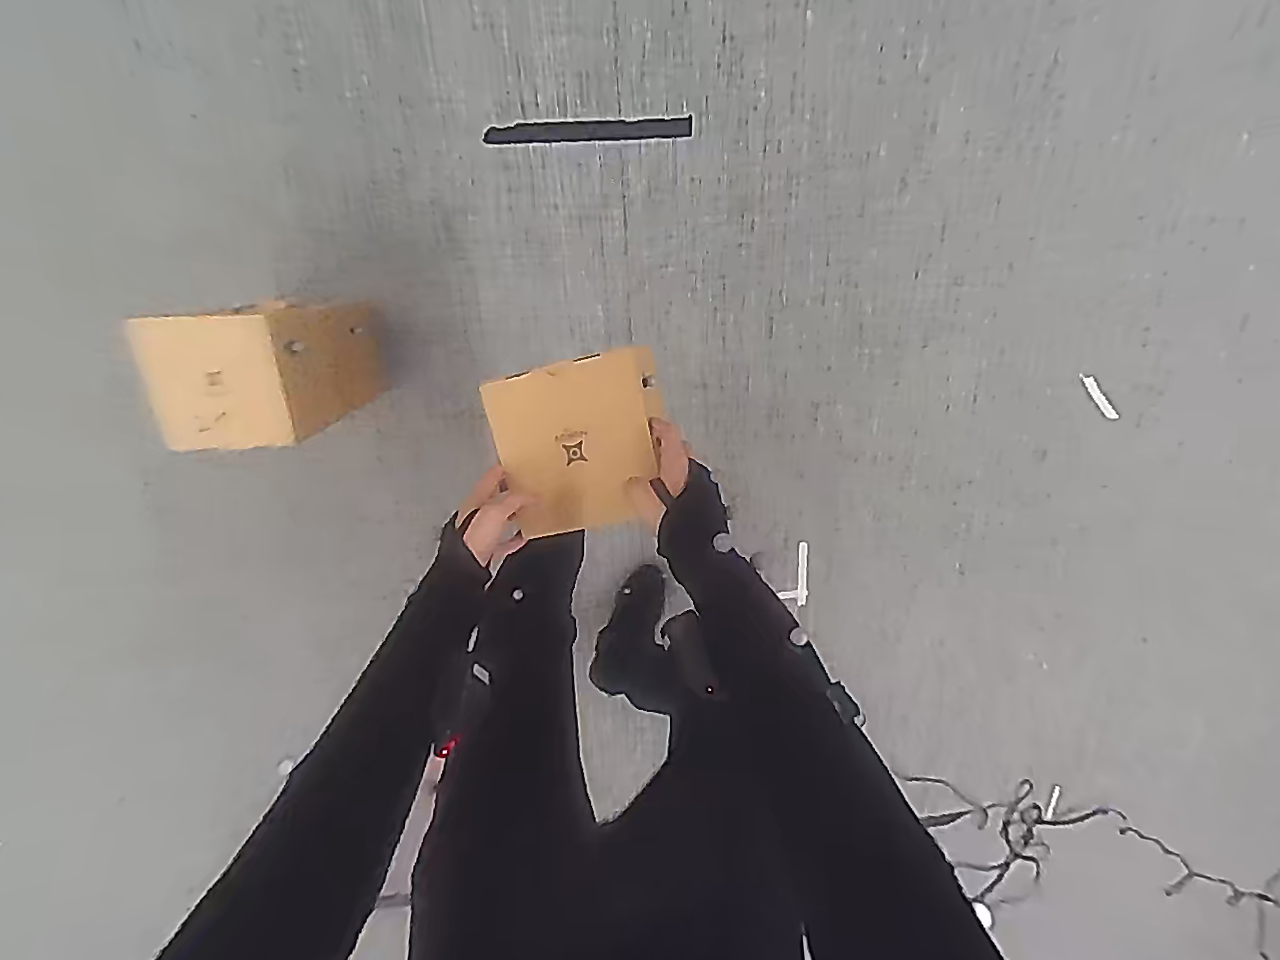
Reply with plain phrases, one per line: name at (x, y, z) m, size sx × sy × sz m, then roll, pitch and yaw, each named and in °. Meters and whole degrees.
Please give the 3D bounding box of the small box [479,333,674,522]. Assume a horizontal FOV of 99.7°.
small box at (-0.060, -0.069, 0.645) m, size 0.168 × 0.176 × 0.179 m, roll -12°, pitch 101°, yaw 10°

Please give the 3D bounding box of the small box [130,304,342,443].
small box at (-0.557, -0.160, 0.776) m, size 0.168 × 0.176 × 0.179 m, roll -2°, pitch 110°, yaw -5°

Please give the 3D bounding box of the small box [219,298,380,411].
small box at (-0.569, -0.219, 0.929) m, size 0.168 × 0.176 × 0.179 m, roll -2°, pitch 109°, yaw -6°
